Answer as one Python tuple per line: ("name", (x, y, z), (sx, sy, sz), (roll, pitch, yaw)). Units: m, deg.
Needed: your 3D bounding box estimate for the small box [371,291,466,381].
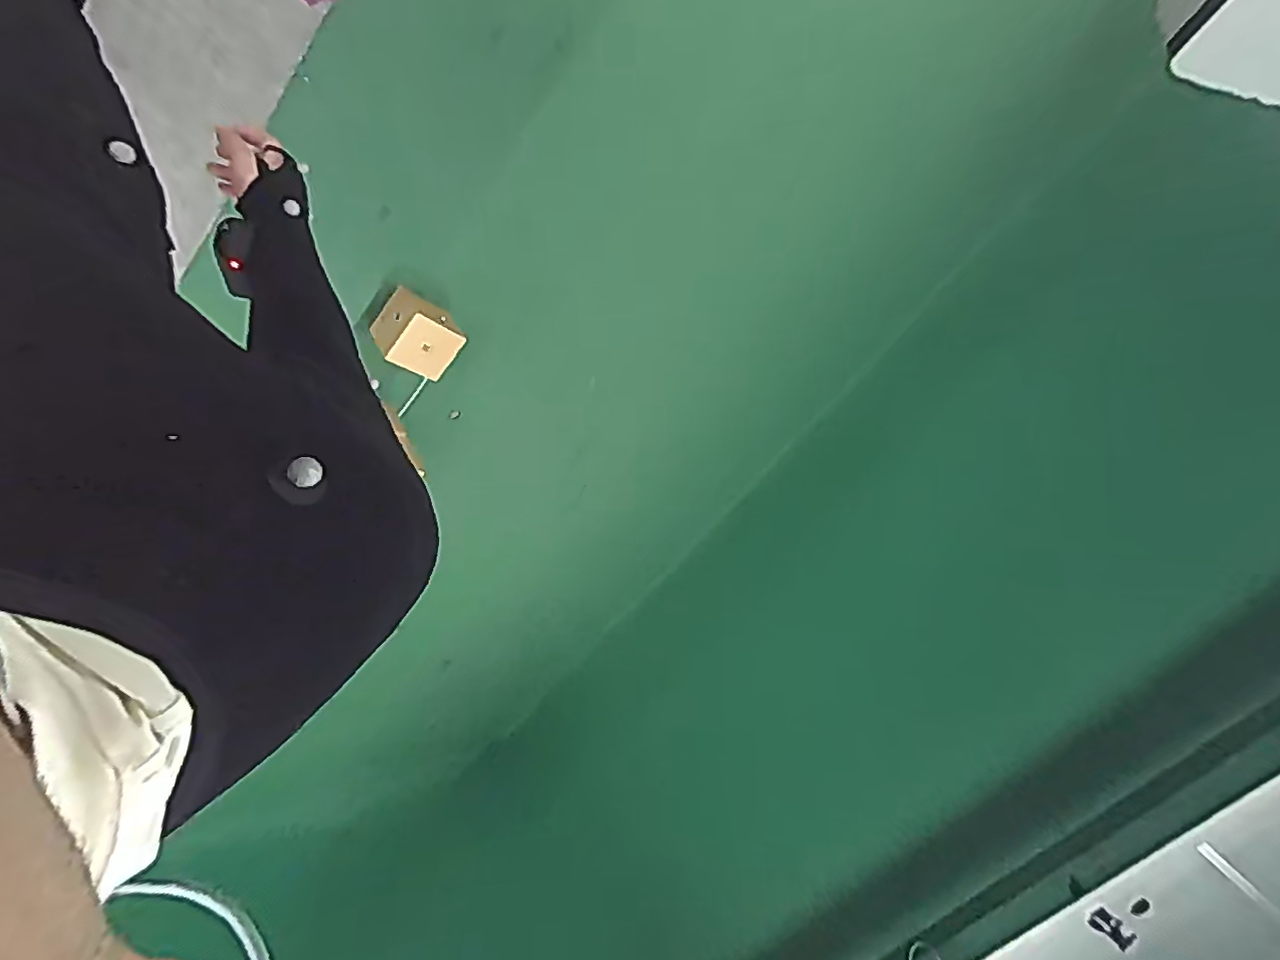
("small box", (-0.656, -0.426, 1.589), (0.168, 0.176, 0.179), (-48, 148, 13))
